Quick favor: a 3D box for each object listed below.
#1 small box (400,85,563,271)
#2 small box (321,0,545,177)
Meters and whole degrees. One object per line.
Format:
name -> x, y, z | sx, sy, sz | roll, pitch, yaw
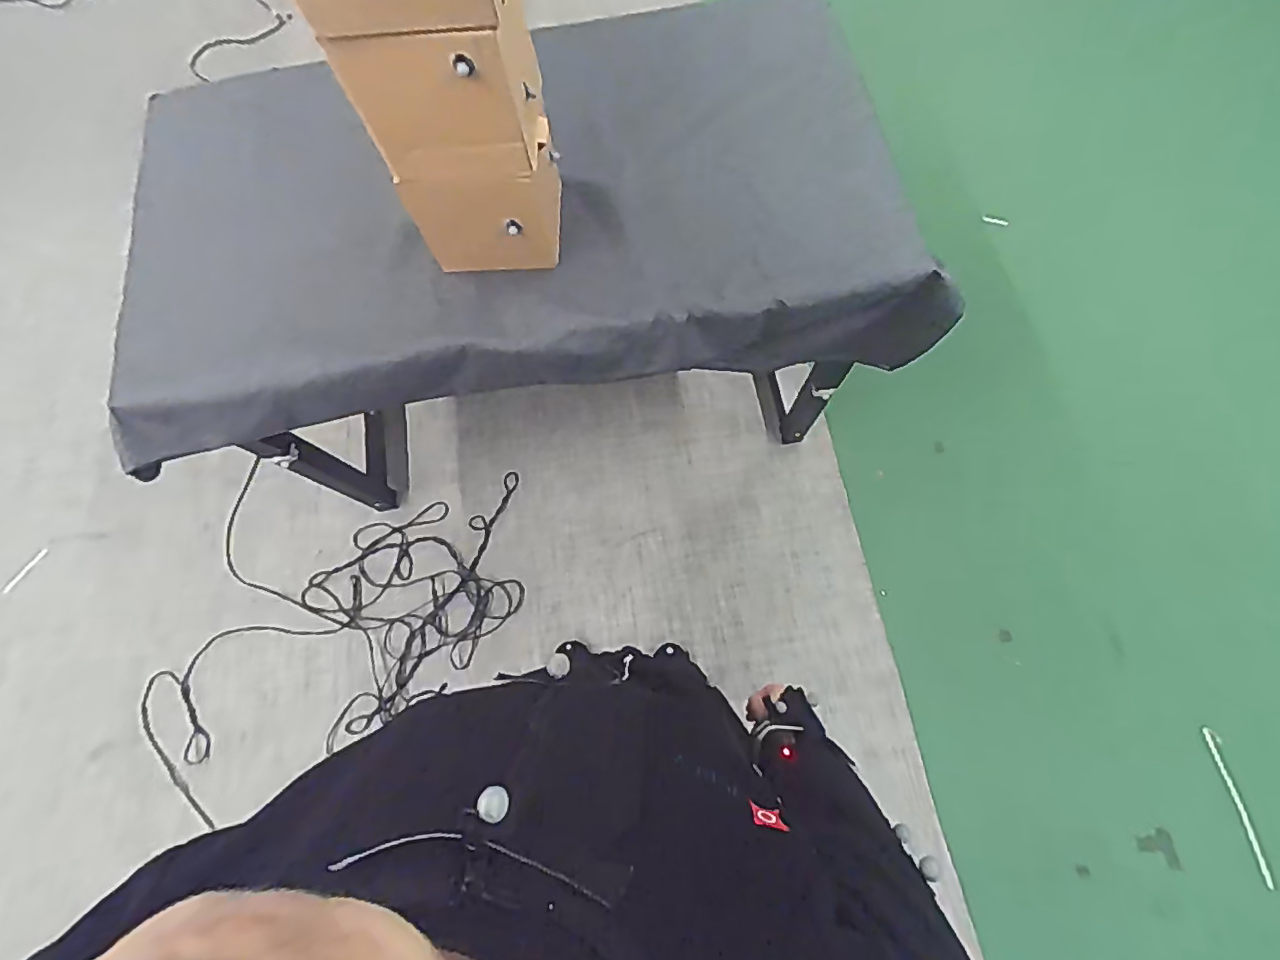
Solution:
small box -> -0.207, -0.416, 0.760 | 0.179, 0.176, 0.168 | -2, 72, 2
small box -> -0.213, -0.469, 0.606 | 0.179, 0.176, 0.168 | -1, 72, 1
